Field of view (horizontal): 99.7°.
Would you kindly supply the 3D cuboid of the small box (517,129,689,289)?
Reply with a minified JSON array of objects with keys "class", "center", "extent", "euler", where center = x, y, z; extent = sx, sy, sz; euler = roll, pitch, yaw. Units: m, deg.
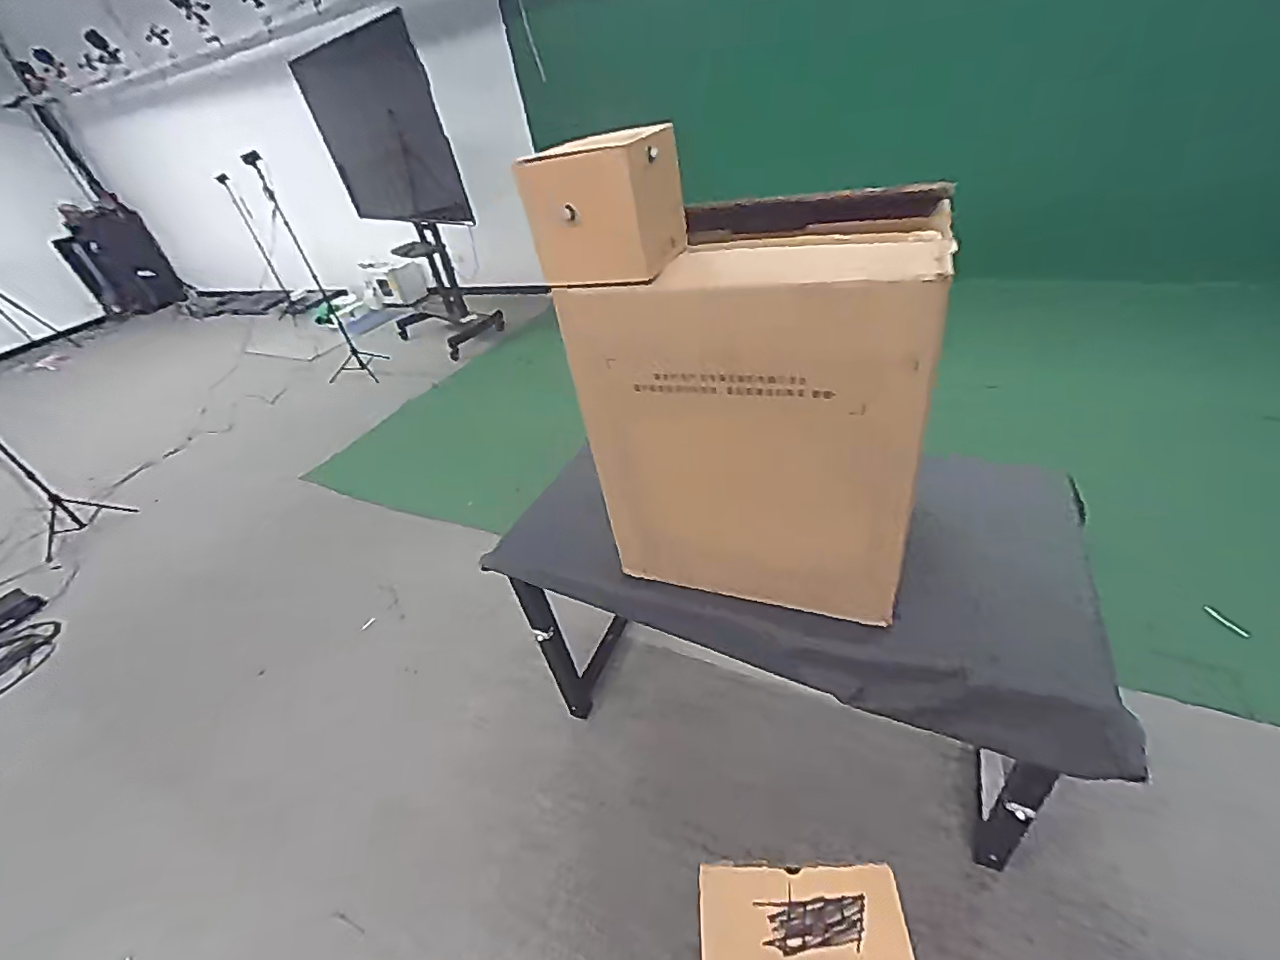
[{"class":"small box","center":[-0.042,-0.388,0.788],"extent":[0.179,0.176,0.168],"euler":[7,41,25]}]
